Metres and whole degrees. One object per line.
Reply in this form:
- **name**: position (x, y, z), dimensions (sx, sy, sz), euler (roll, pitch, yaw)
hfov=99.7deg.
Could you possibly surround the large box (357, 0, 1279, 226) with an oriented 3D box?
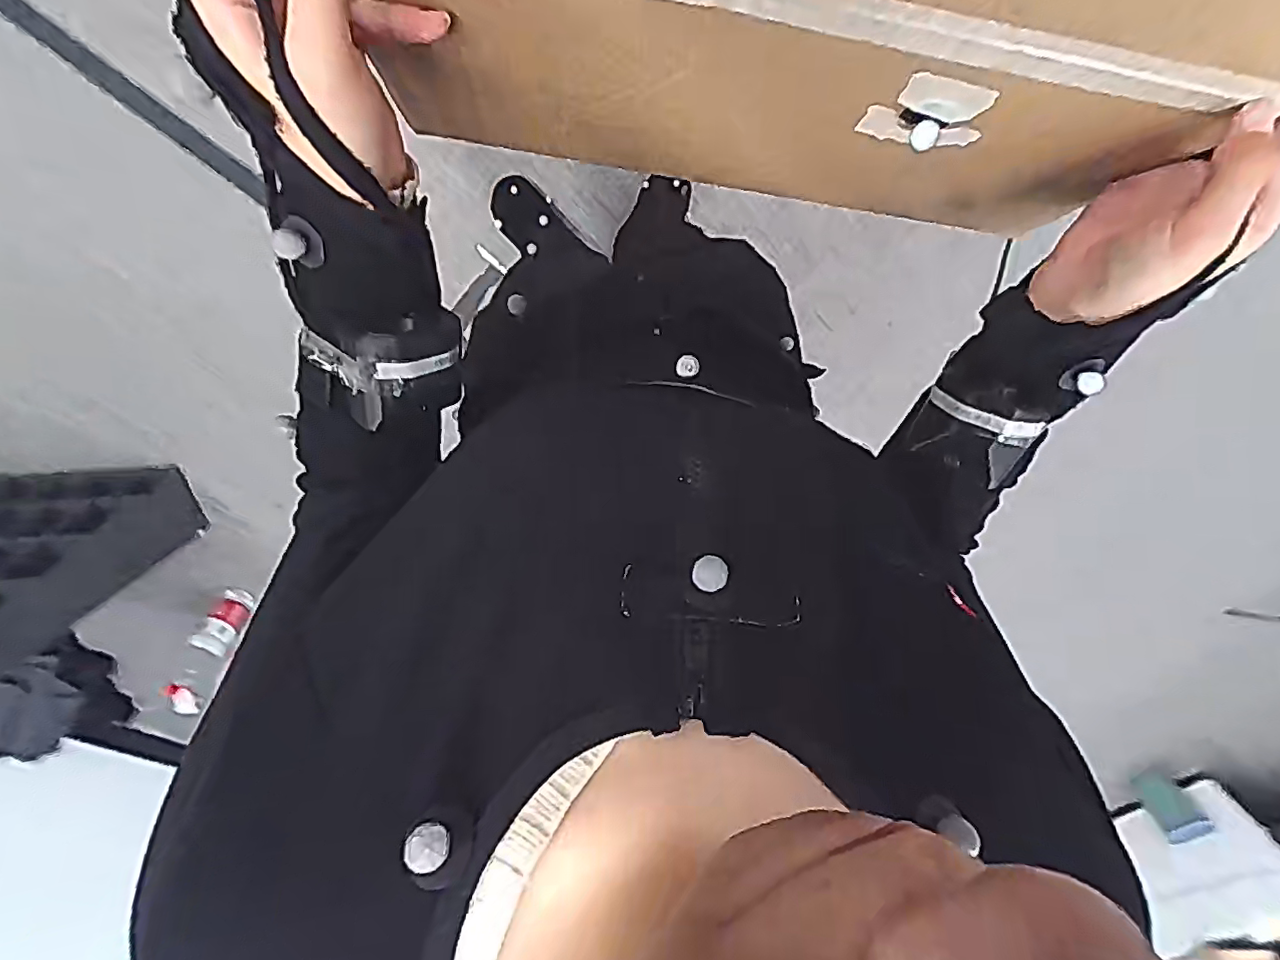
- **large box**: position (0.093, -0.334, 0.197), dimensions (0.408, 0.320, 0.320), euler (6, 96, -6)
